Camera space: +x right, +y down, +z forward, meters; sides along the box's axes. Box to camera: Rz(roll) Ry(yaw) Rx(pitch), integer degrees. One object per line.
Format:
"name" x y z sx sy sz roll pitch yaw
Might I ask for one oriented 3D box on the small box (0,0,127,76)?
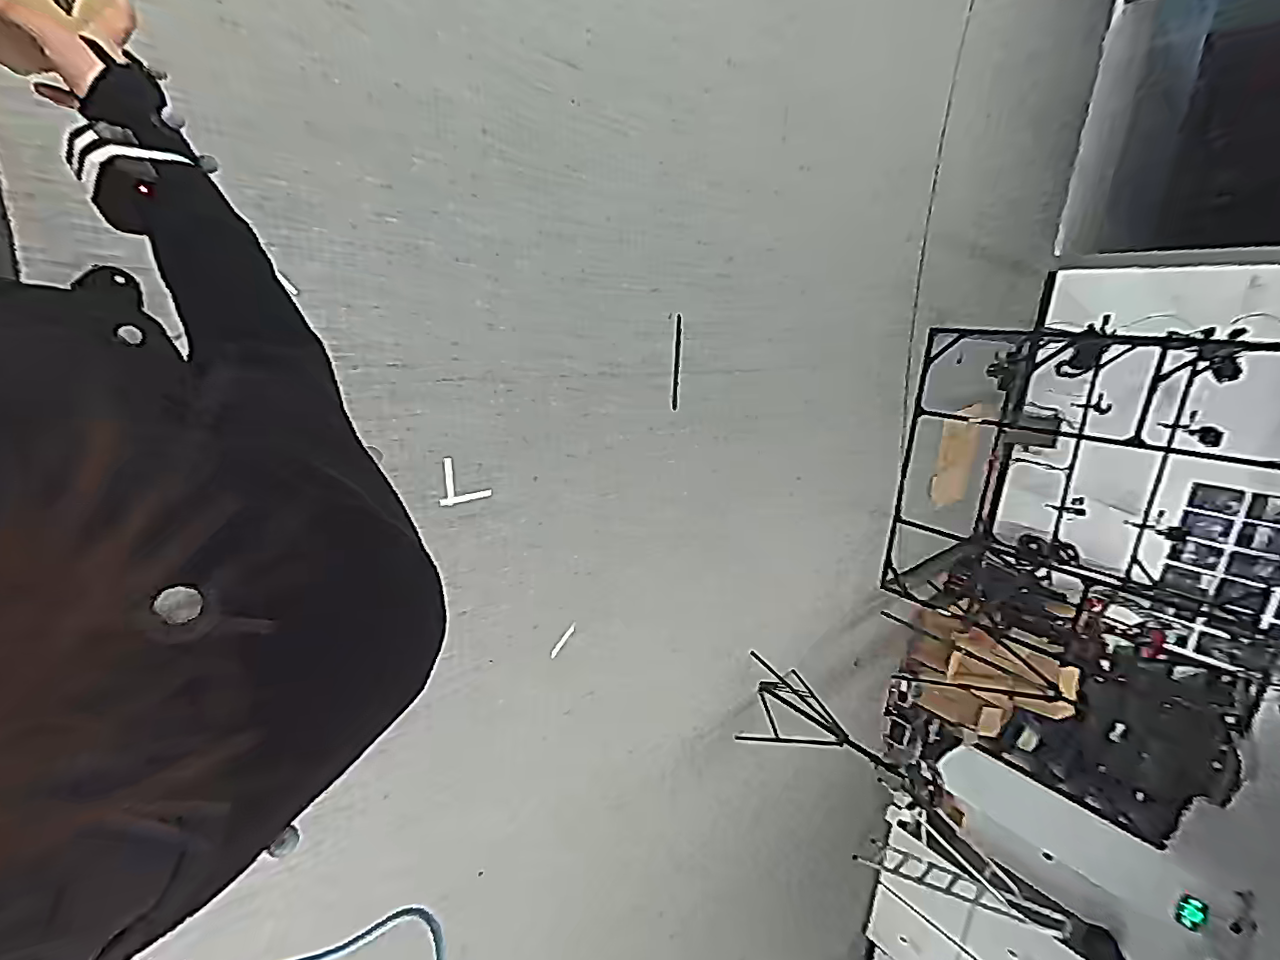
"small box" -0.552 -0.471 0.434 0.179 0.176 0.168 26 83 -64
